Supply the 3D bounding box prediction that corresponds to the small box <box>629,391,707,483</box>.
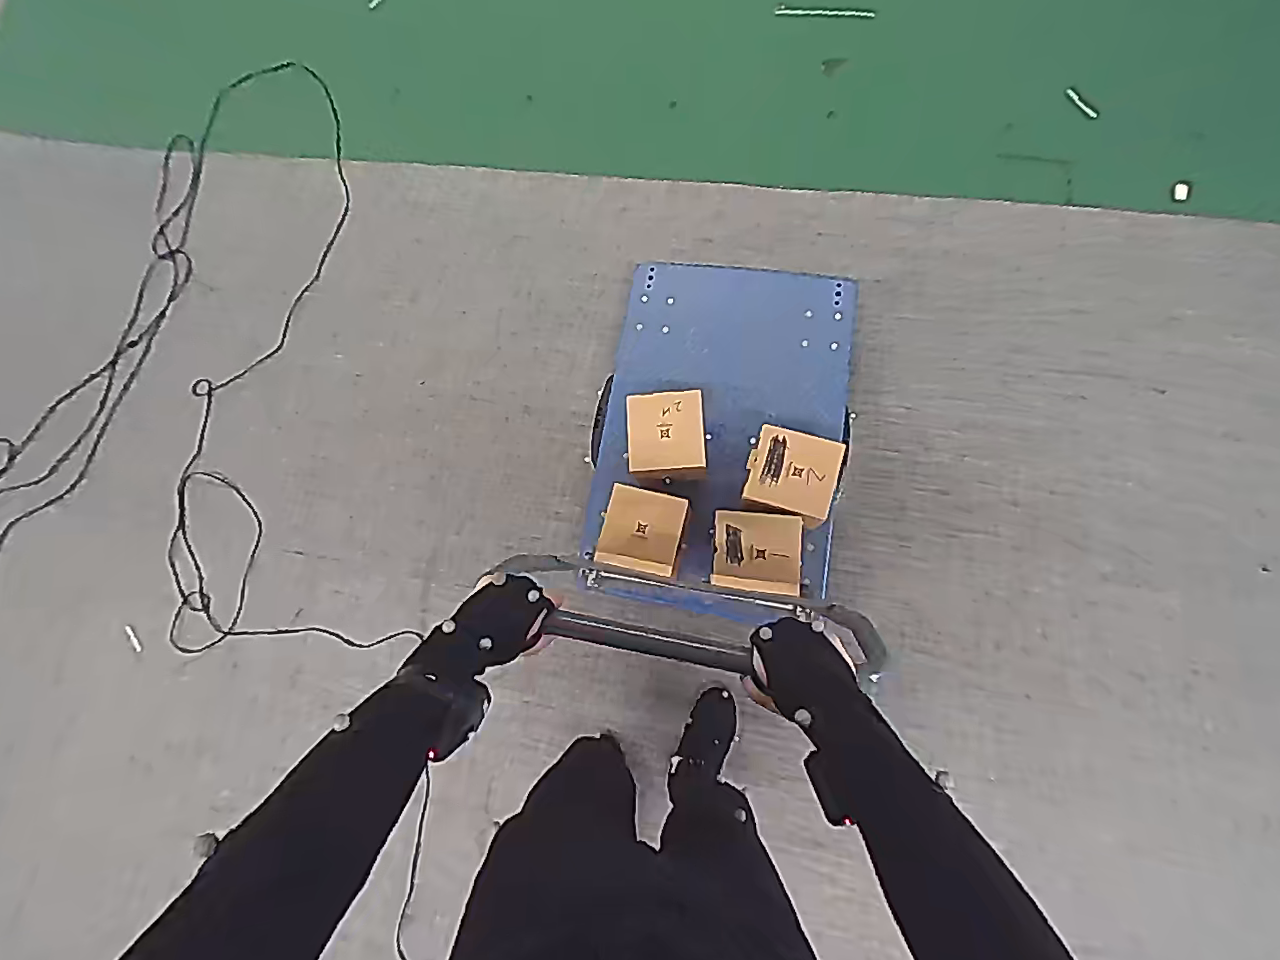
[{"bbox_3d":[0.068,-0.090,1.244,0.168,0.176,0.179,-3,79,6],"label":"small box"}]
